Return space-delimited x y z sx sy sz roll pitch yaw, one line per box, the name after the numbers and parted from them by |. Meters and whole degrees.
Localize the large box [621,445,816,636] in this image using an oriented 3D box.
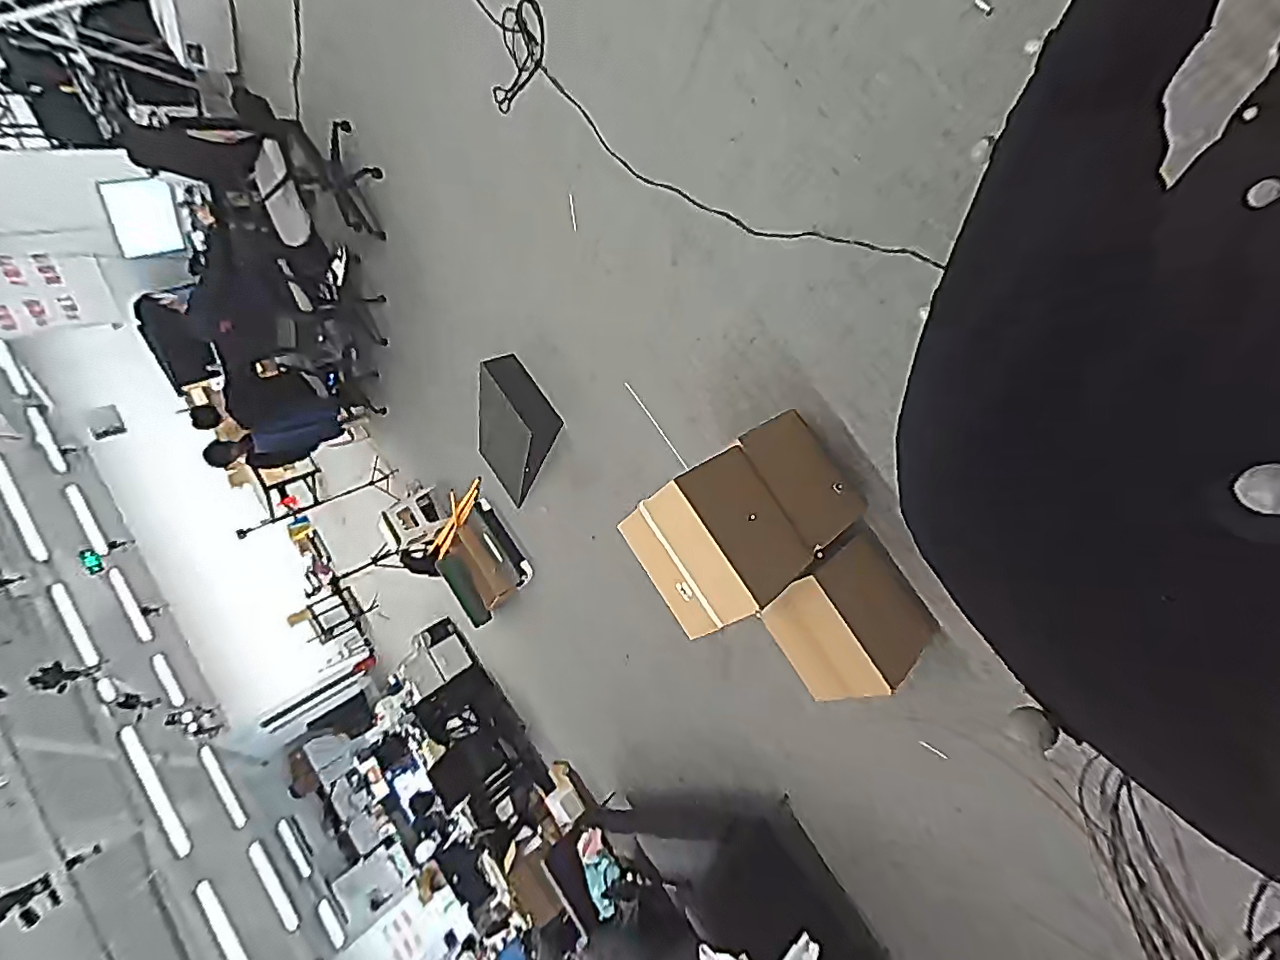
0.226 0.172 1.580 0.408 0.320 0.320 56 138 7 | large box
